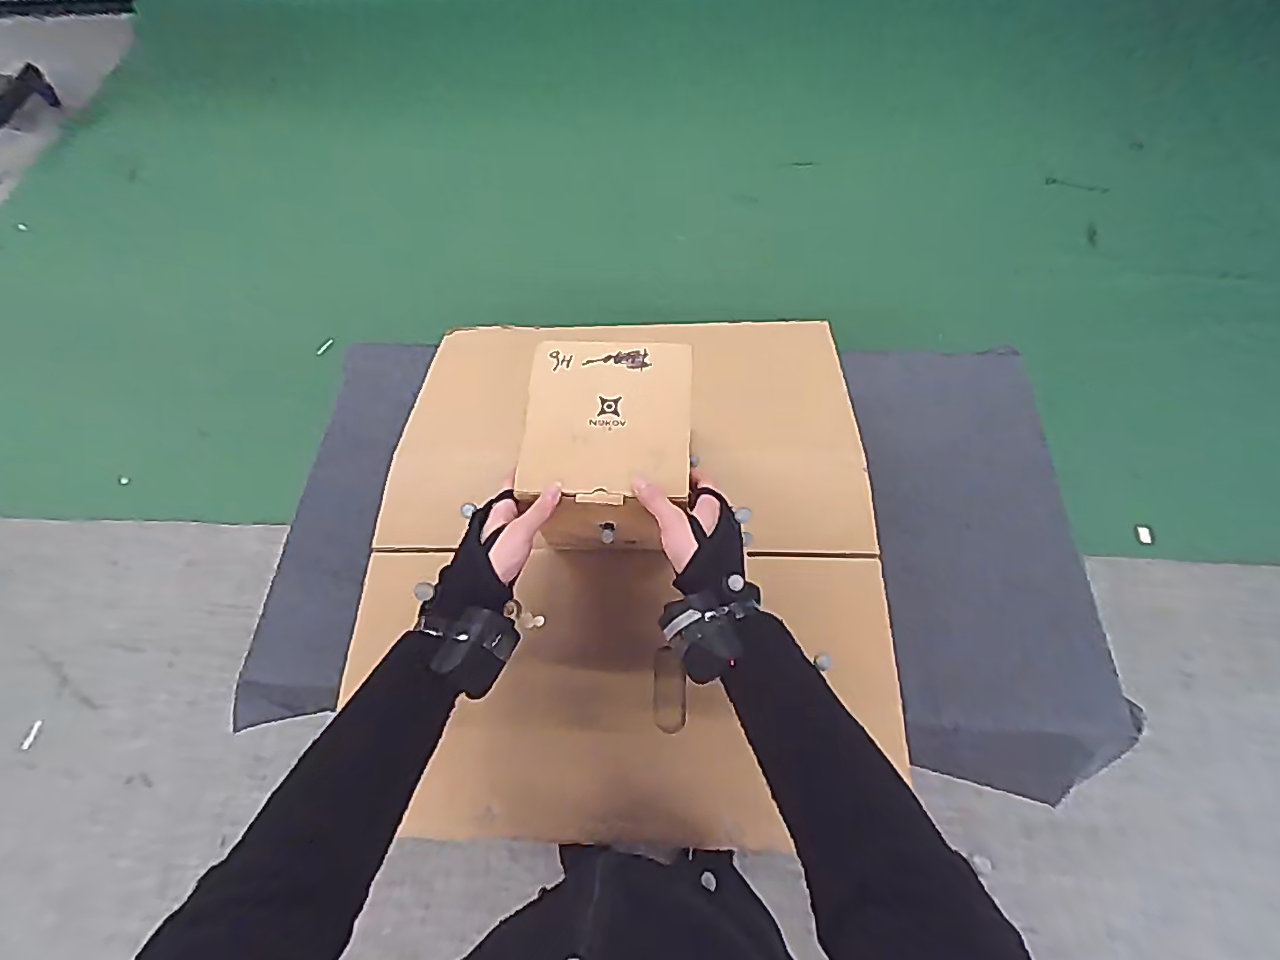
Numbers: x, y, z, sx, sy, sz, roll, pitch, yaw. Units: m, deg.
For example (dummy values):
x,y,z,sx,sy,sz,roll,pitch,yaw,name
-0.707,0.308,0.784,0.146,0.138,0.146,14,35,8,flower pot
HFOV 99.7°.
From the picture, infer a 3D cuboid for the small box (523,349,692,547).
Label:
x,y,z,sx,sy,sz,roll,pitch,yaw,name
-0.024,-0.027,0.616,0.168,0.176,0.179,0,66,3,small box
